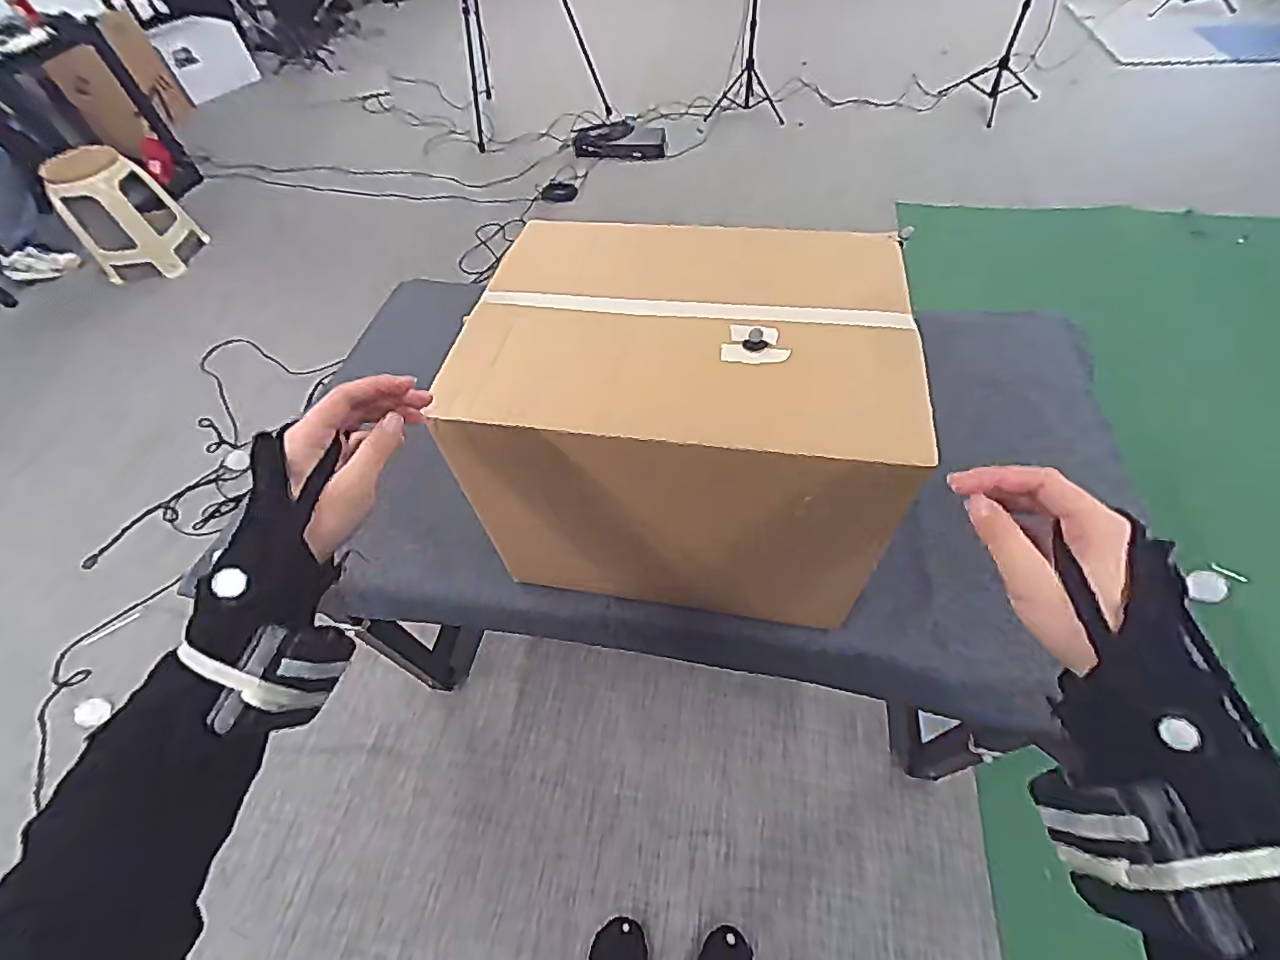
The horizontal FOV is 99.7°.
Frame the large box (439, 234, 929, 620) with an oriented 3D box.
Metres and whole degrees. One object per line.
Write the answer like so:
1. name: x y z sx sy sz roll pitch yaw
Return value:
1. large box: 0.053 -0.061 0.635 0.408 0.320 0.320 6 54 9
